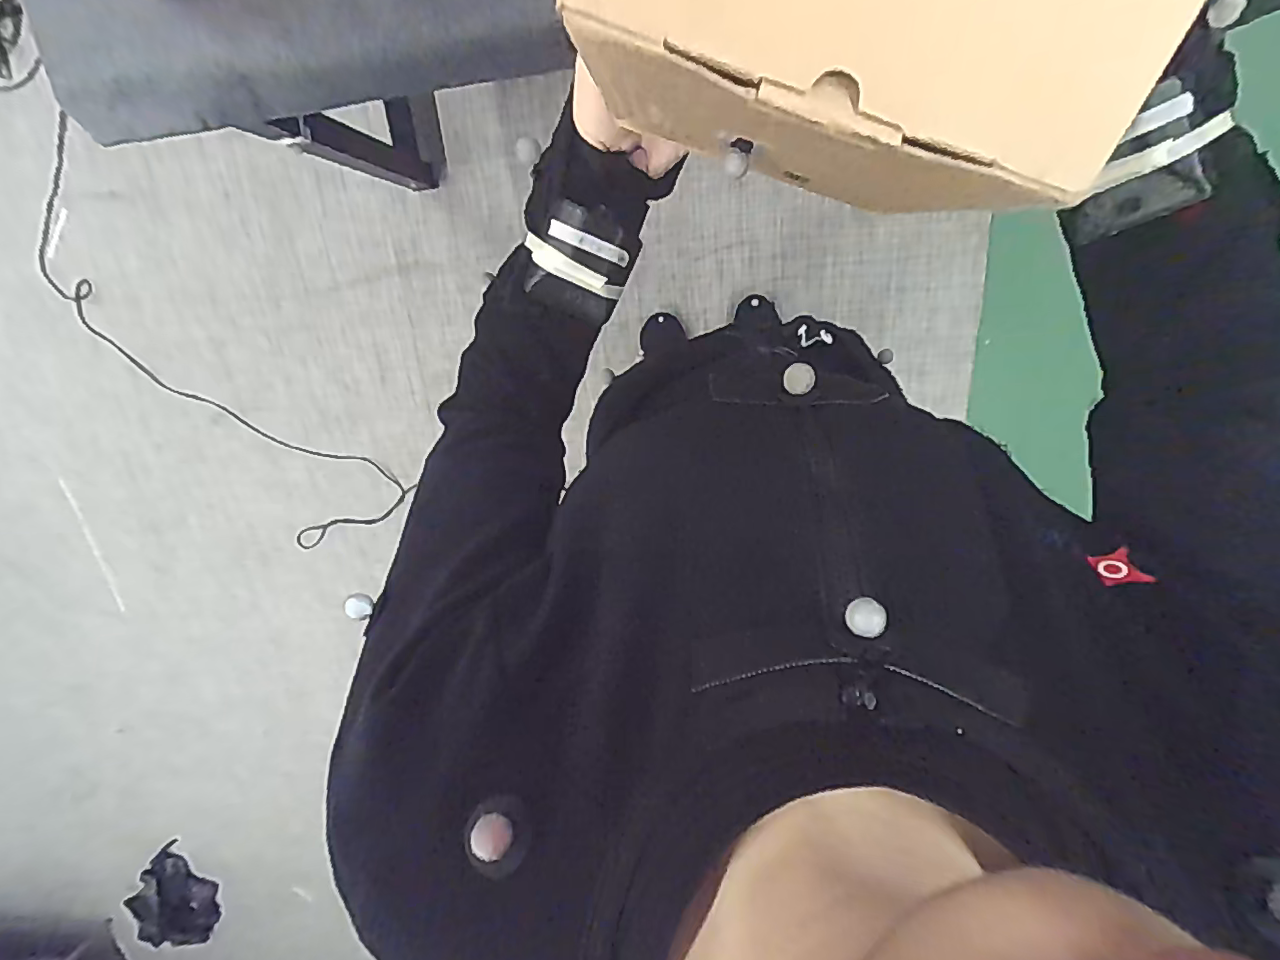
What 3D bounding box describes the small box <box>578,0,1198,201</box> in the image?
[{"bbox_3d":[0.083,-0.217,0.192,0.168,0.176,0.179,16,116,-5],"label":"small box"}]
